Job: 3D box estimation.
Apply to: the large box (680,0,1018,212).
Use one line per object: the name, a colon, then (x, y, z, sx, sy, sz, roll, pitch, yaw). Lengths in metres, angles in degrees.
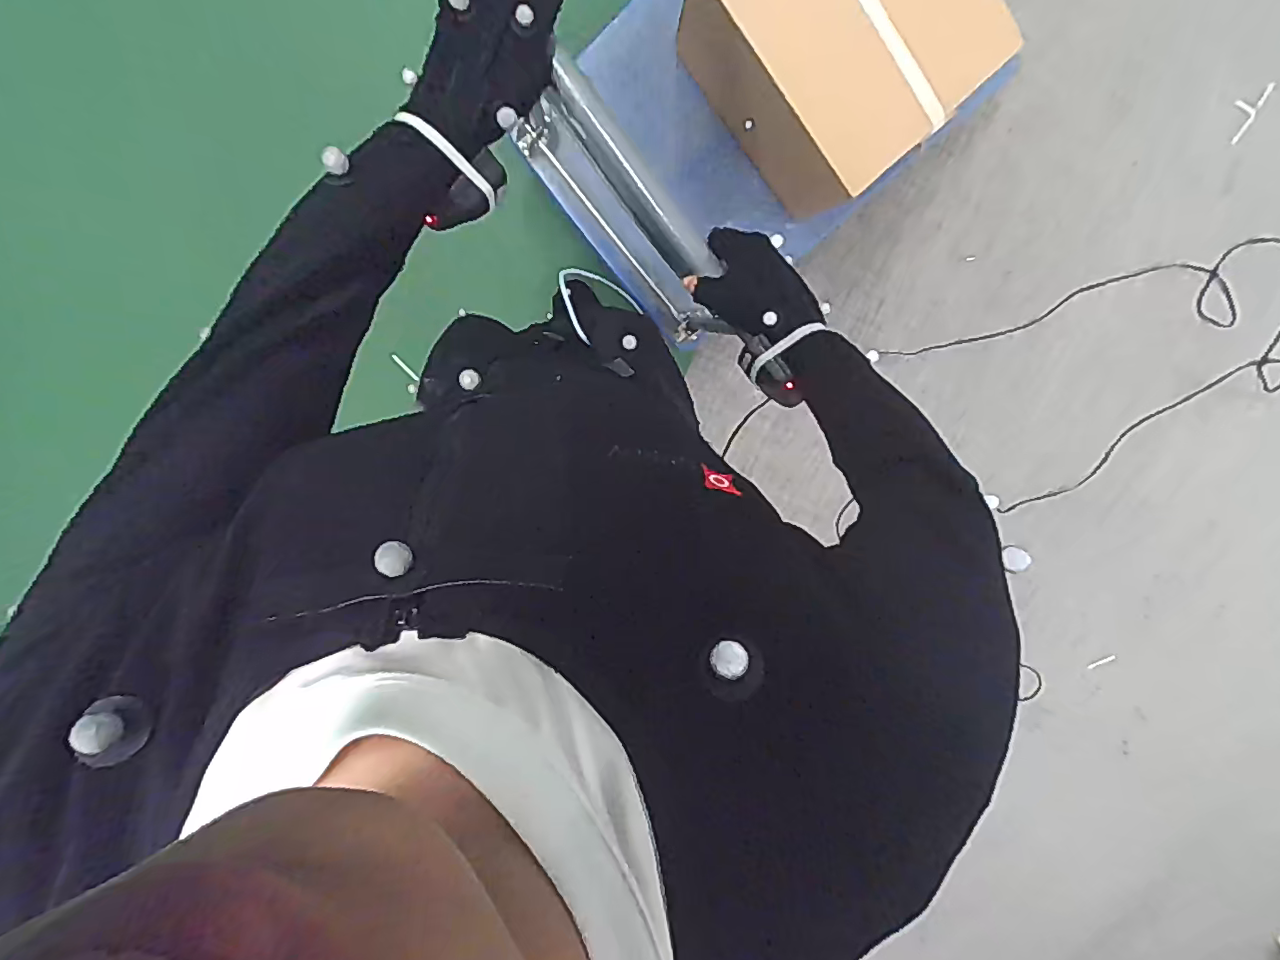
large box: (0.318, -0.744, 0.923, 0.320, 0.320, 0.408, -40, 106, 11)
